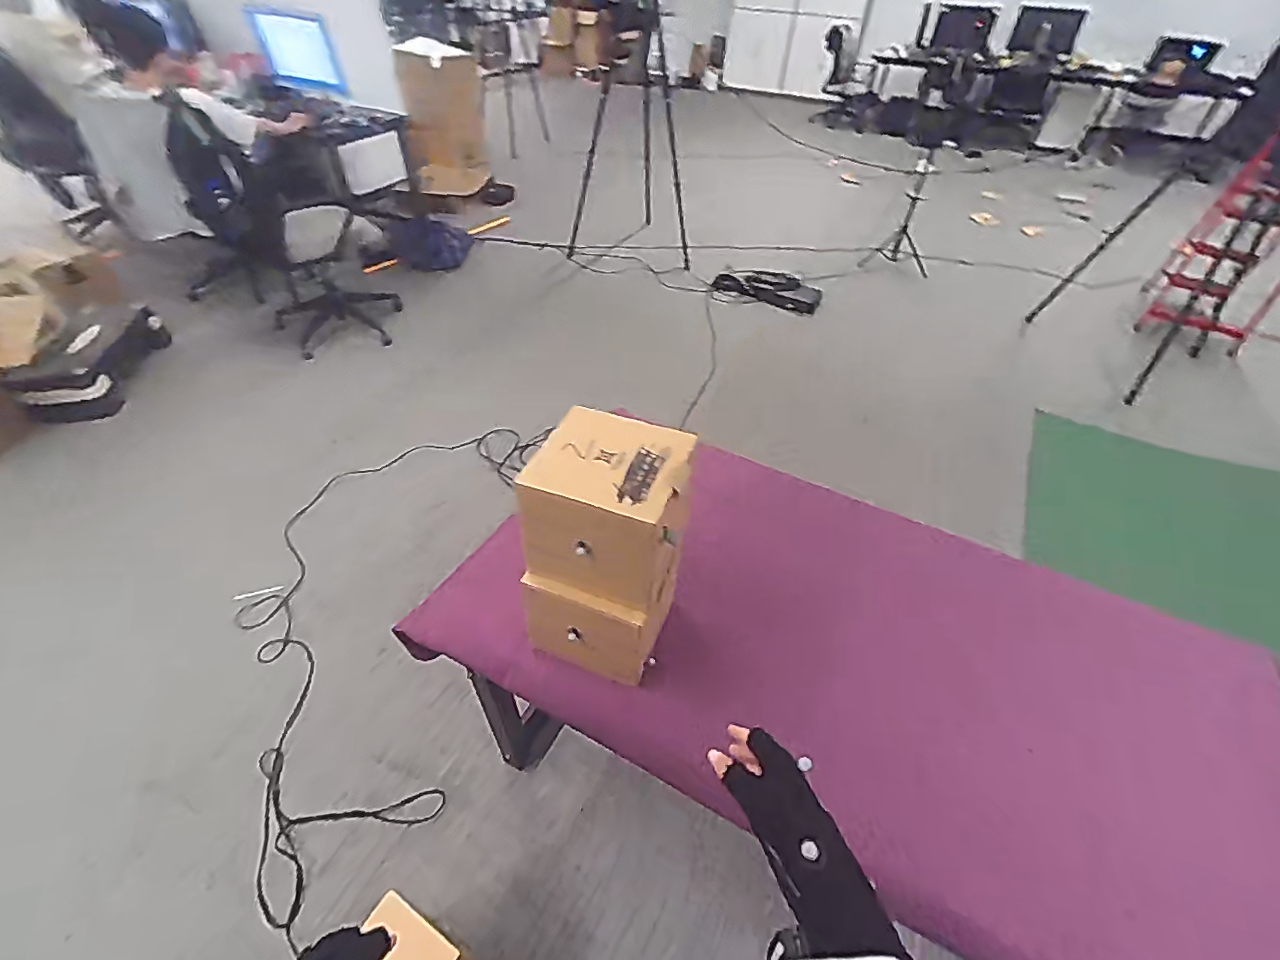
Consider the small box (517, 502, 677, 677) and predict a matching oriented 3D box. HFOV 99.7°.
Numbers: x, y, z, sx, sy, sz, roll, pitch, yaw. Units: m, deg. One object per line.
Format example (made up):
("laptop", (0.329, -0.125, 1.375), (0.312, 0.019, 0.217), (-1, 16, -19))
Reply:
("small box", (-0.058, 0.167, 0.807), (0.179, 0.176, 0.168), (17, 45, 13))
